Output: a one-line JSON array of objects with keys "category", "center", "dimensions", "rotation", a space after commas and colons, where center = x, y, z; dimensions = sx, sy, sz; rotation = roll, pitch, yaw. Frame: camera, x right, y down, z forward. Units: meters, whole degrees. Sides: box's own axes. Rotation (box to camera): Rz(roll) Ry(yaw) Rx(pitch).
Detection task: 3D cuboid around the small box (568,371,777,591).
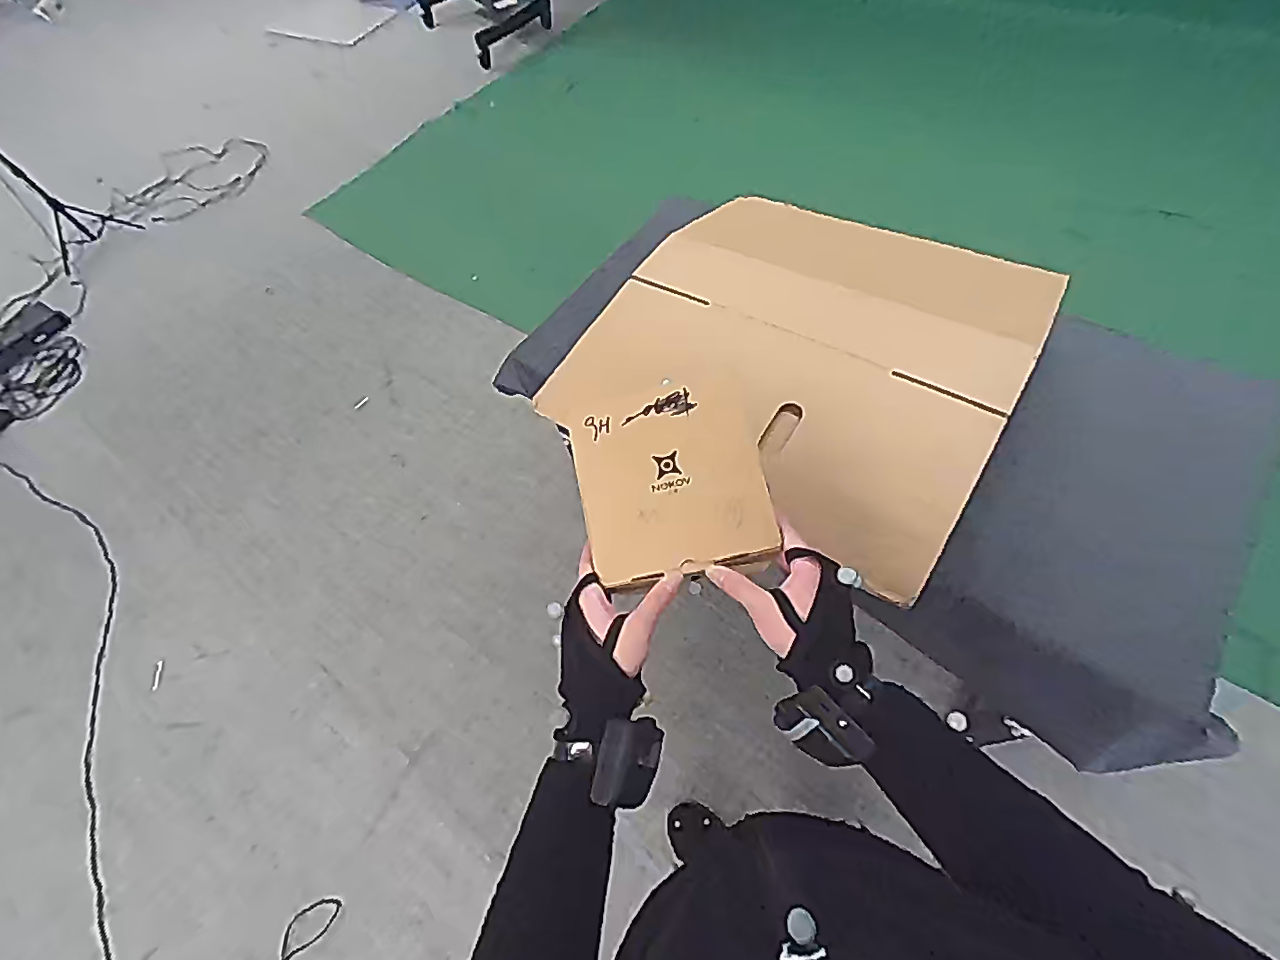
[{"category": "small box", "center": [0.038, 0.016, 0.575], "dimensions": [0.168, 0.176, 0.179], "rotation": [-15, 73, 5]}]
